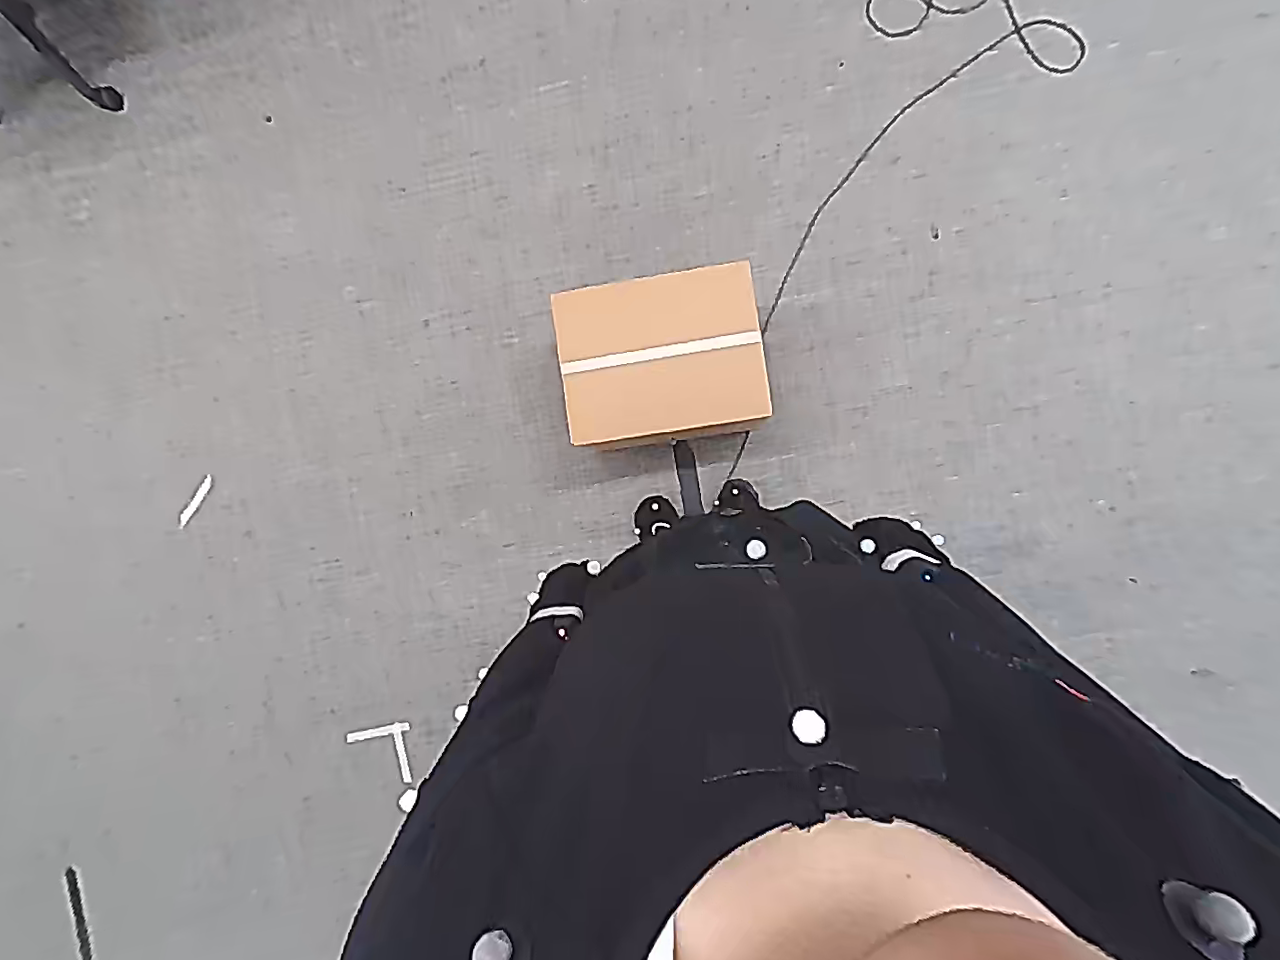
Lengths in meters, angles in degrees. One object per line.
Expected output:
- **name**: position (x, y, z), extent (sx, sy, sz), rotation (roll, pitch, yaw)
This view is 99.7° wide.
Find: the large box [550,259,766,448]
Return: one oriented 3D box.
- **large box**: position (0.042, -0.259, 1.231), extent (0.408, 0.320, 0.320), rotation (-8, 91, 4)
